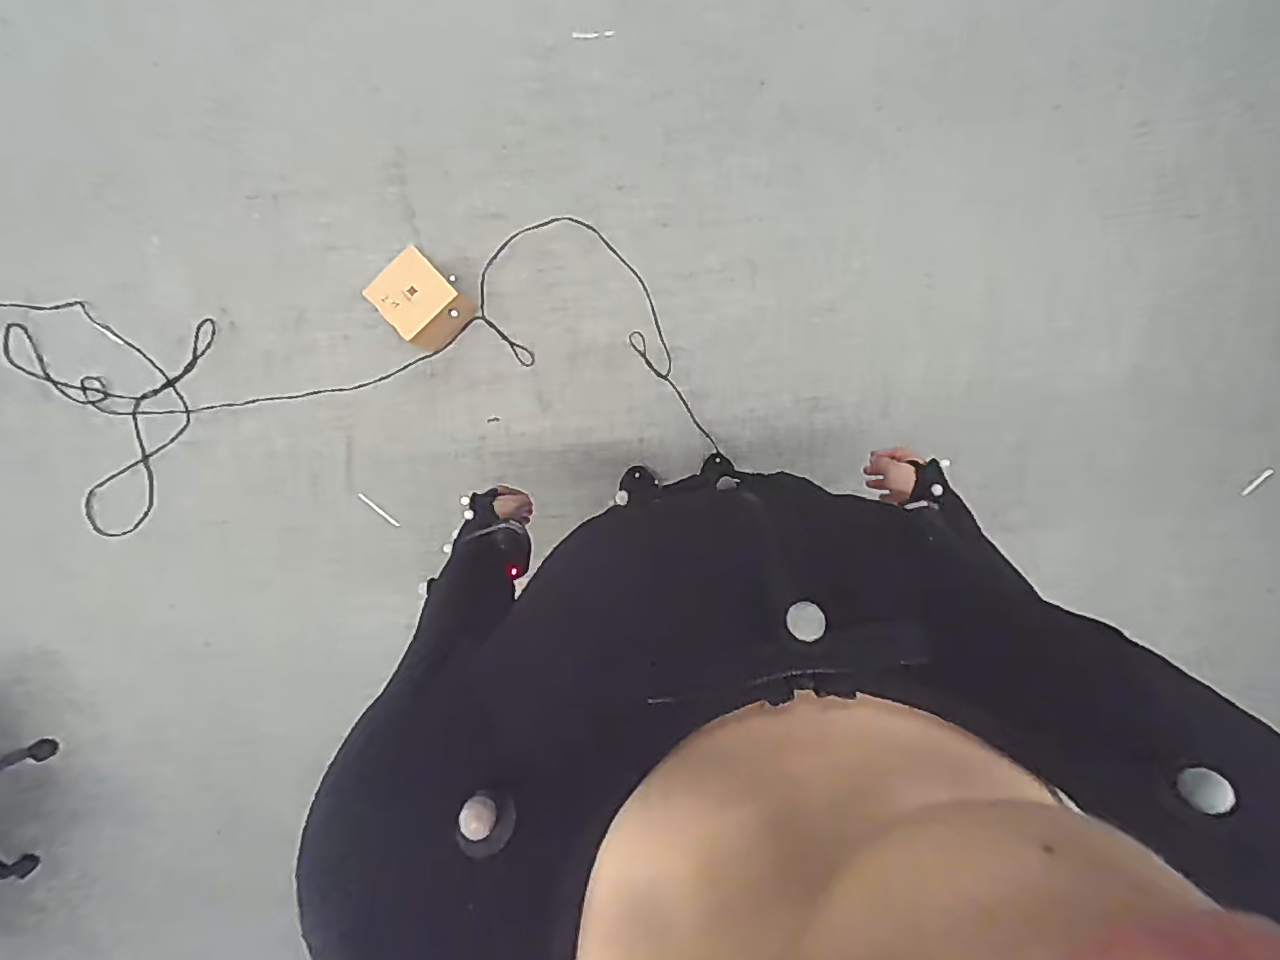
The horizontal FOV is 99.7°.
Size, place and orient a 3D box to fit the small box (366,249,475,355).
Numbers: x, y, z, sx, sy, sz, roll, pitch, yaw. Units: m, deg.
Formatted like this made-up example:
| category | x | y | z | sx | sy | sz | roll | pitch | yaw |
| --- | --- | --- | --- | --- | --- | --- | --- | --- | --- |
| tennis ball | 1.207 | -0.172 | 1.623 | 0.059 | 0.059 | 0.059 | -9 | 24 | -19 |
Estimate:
| category | x | y | z | sx | sy | sz | roll | pitch | yaw |
| --- | --- | --- | --- | --- | --- | --- | --- | --- | --- |
| small box | -0.550 | -0.449 | 1.392 | 0.179 | 0.176 | 0.168 | -42 | 91 | 3 |
